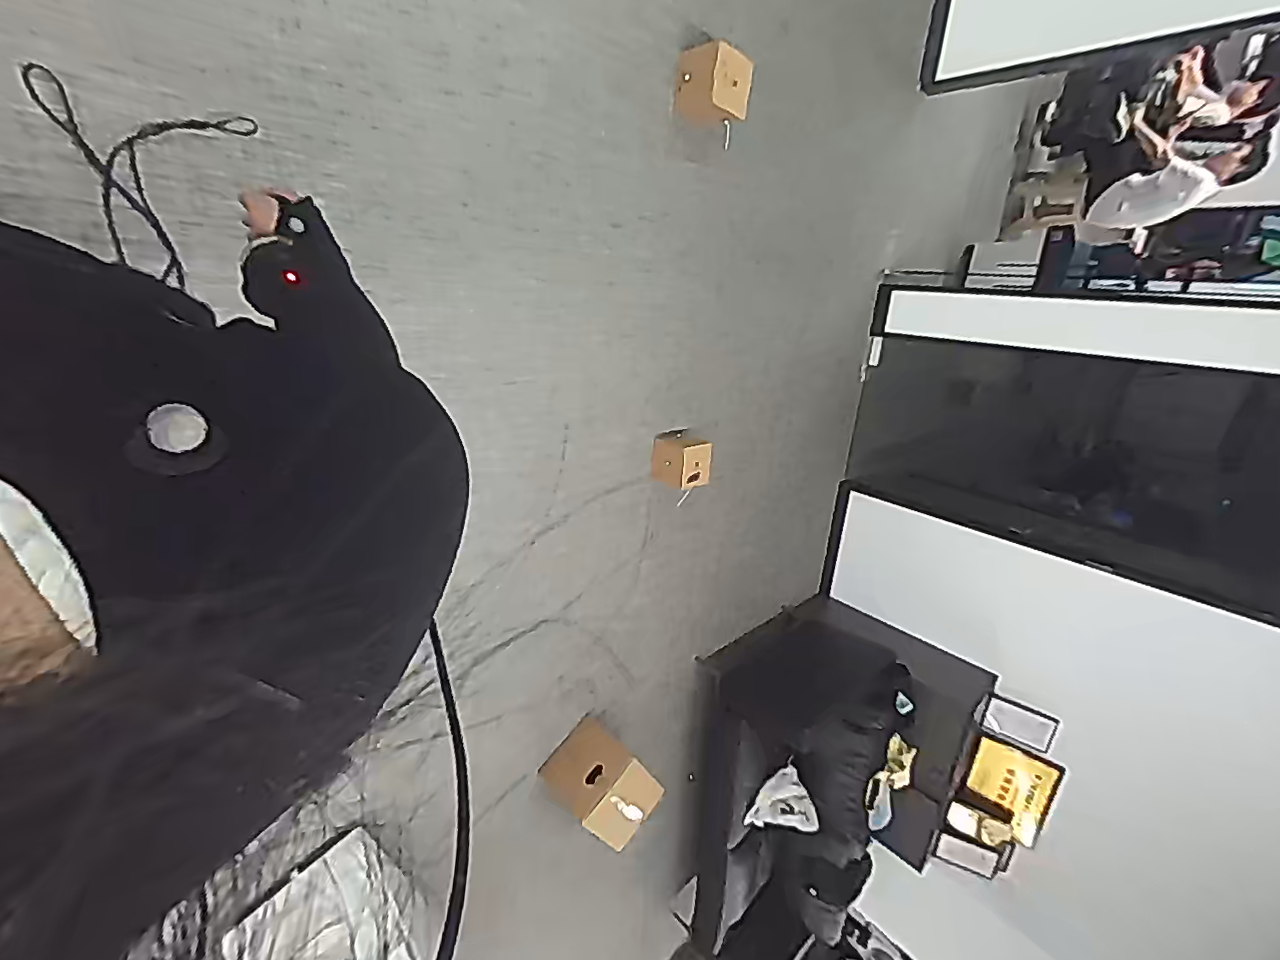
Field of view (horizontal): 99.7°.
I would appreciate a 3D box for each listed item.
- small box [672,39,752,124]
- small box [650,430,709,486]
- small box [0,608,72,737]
[{"bbox_3d":[0.230,-1.275,1.745,0.179,0.176,0.168,-8,113,-43],"label":"small box"},{"bbox_3d":[0.155,-0.093,2.207,0.168,0.176,0.179,-14,116,-41],"label":"small box"},{"bbox_3d":[-1.219,0.368,1.017,0.179,0.176,0.168,-18,120,-40],"label":"small box"}]
